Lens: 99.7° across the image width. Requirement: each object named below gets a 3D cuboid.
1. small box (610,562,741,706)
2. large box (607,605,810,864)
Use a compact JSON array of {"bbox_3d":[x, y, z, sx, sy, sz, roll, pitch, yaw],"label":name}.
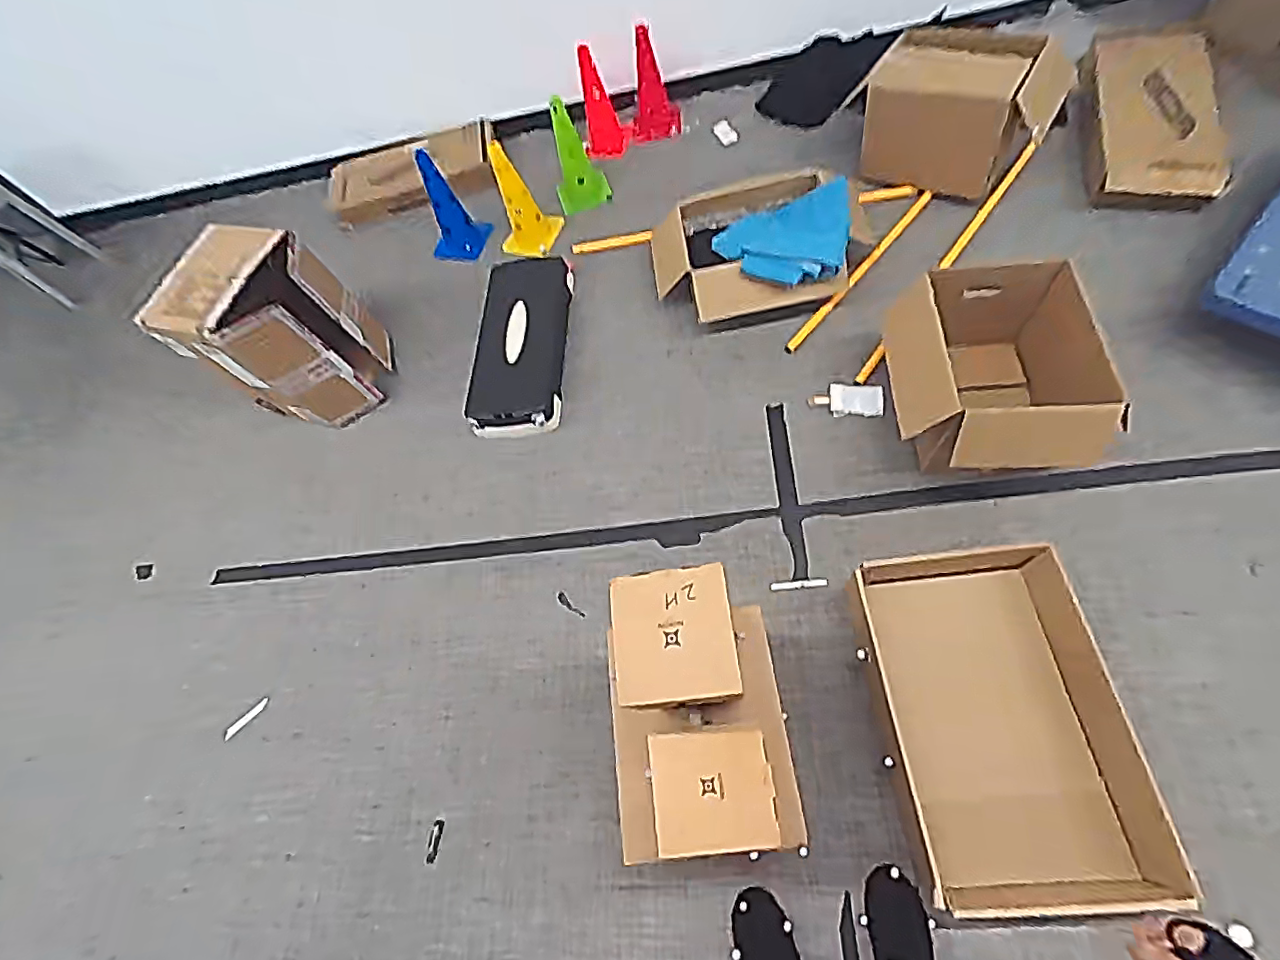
[{"bbox_3d":[0.056,0.236,0.801,0.168,0.176,0.179,-9,64,7],"label":"small box"},{"bbox_3d":[0.131,0.507,1.117,0.320,0.320,0.408,-10,64,7],"label":"large box"}]
